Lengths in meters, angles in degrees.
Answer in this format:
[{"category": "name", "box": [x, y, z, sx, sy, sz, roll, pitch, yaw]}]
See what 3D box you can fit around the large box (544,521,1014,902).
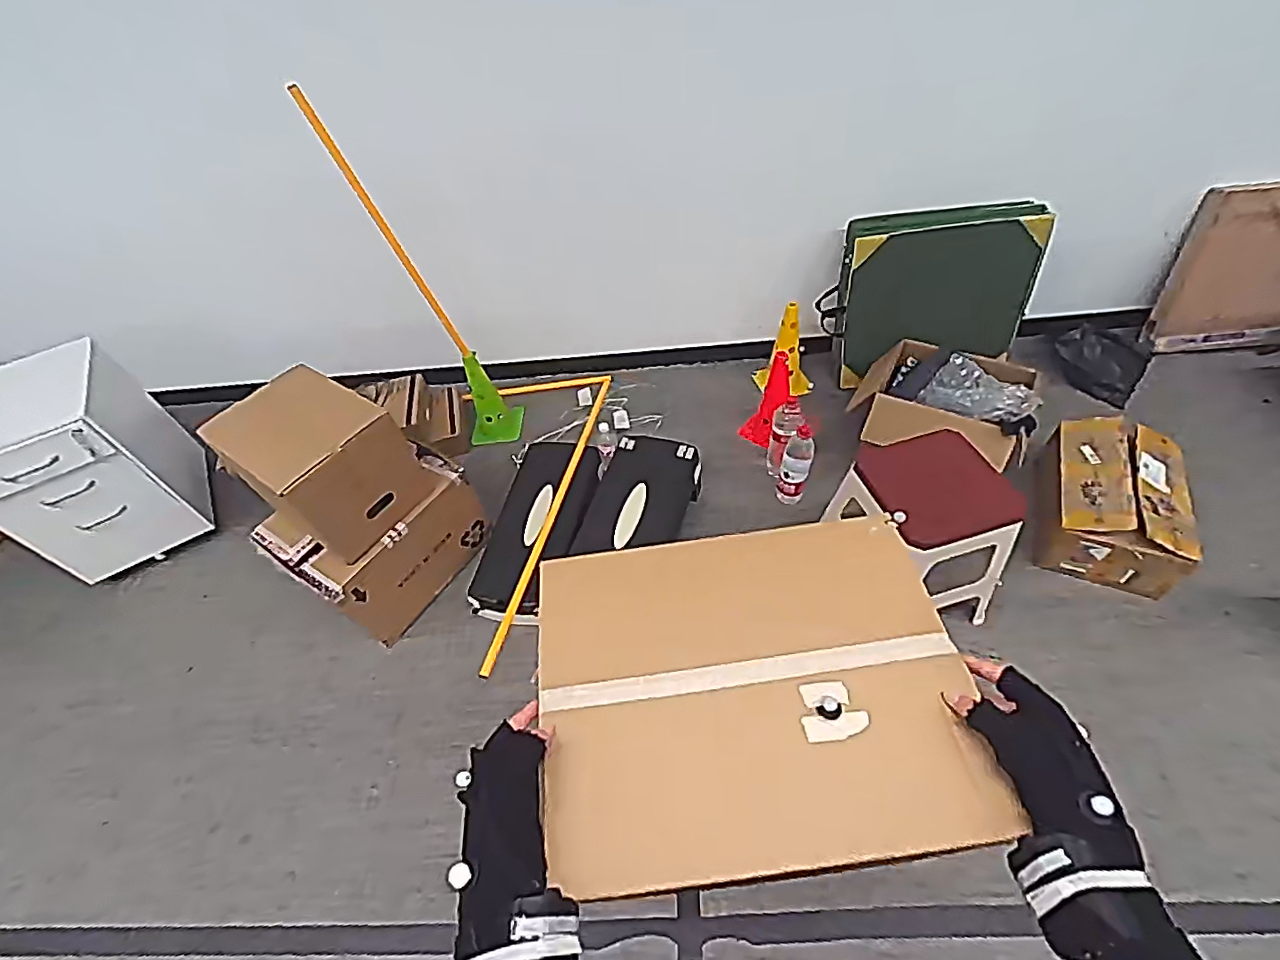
[{"category": "large box", "box": [0.112, 0.287, 0.655, 0.408, 0.320, 0.320, -8, 52, 0]}]
